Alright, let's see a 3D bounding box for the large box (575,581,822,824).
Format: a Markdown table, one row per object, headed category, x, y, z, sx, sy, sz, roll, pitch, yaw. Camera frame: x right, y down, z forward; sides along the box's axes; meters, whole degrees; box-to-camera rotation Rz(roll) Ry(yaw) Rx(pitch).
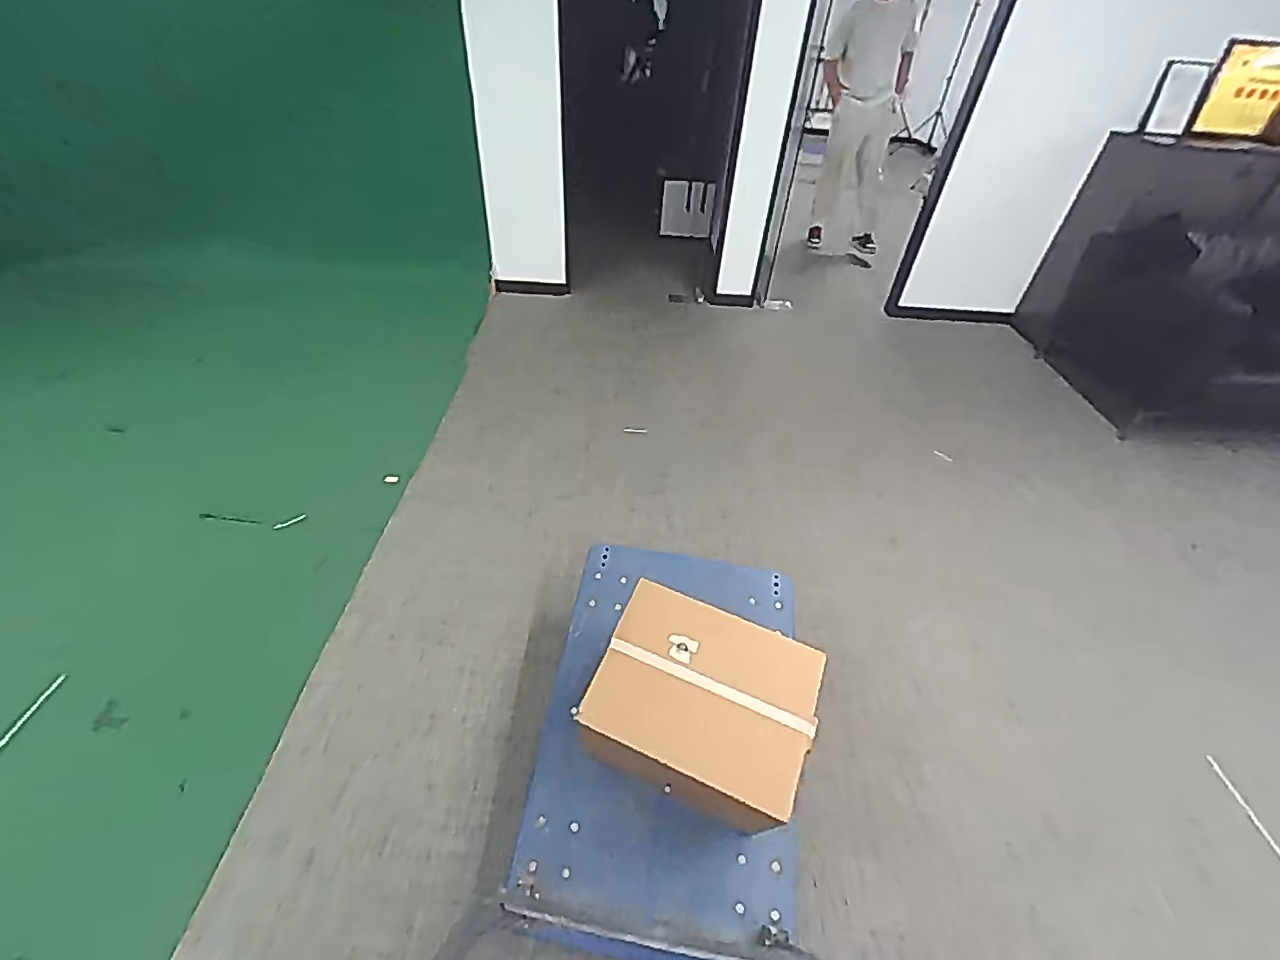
| category | x | y | z | sx | sy | sz | roll | pitch | yaw |
| --- | --- | --- | --- | --- | --- | --- | --- | --- | --- |
| large box | 0.120 | 0.476 | 1.149 | 0.408 | 0.320 | 0.320 | 21 | 56 | 13 |
